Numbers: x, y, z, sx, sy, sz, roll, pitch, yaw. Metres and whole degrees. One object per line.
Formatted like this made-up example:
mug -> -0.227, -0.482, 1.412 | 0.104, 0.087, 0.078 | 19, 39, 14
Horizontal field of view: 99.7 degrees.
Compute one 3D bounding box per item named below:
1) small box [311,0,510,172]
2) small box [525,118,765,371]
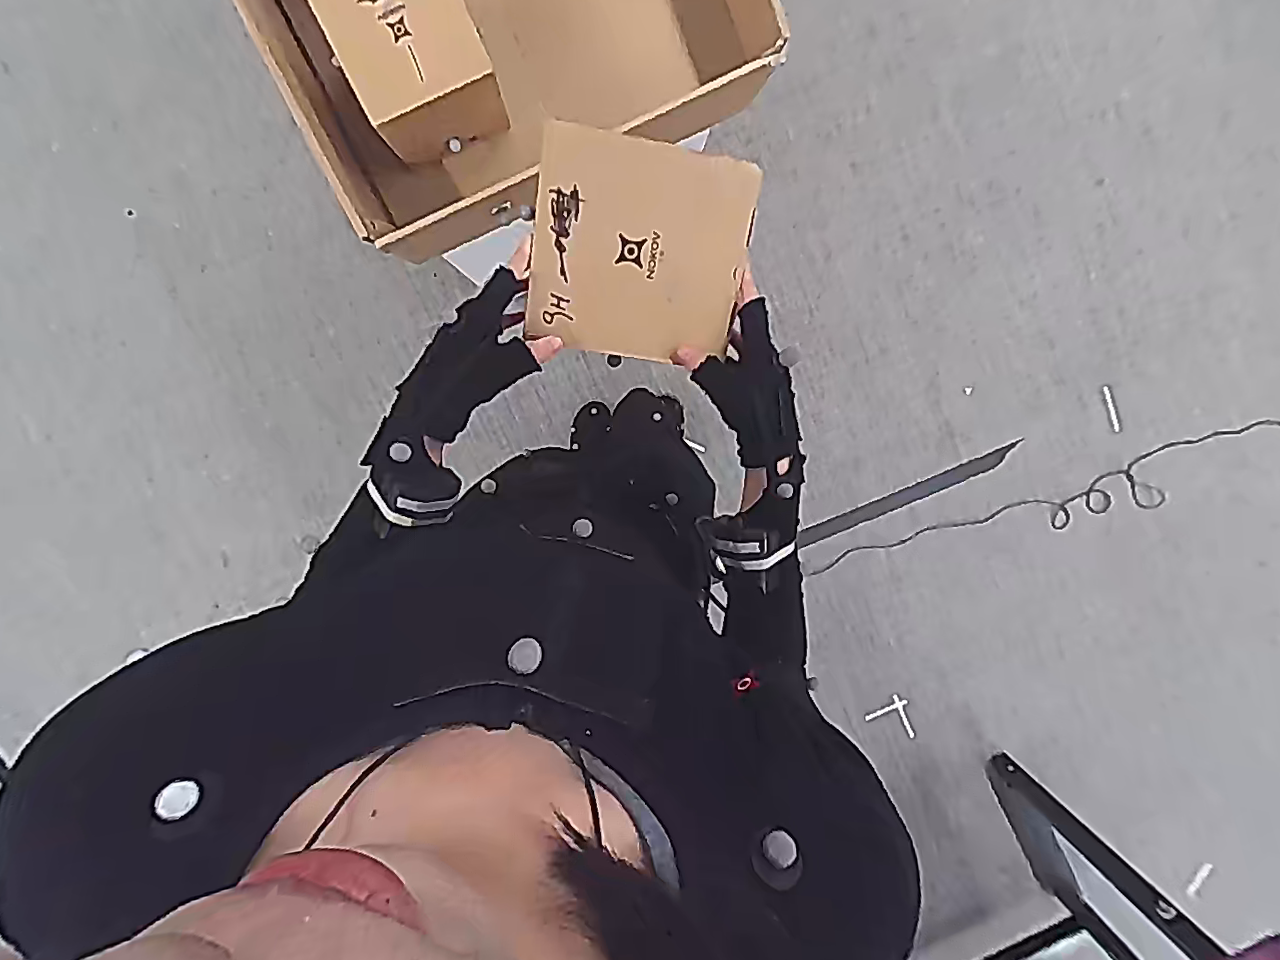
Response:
small box -> -0.290, -0.549, 0.713 | 0.168, 0.176, 0.179 | -25, 104, 0
small box -> -0.007, -0.205, 0.516 | 0.179, 0.176, 0.168 | 8, 103, -9
